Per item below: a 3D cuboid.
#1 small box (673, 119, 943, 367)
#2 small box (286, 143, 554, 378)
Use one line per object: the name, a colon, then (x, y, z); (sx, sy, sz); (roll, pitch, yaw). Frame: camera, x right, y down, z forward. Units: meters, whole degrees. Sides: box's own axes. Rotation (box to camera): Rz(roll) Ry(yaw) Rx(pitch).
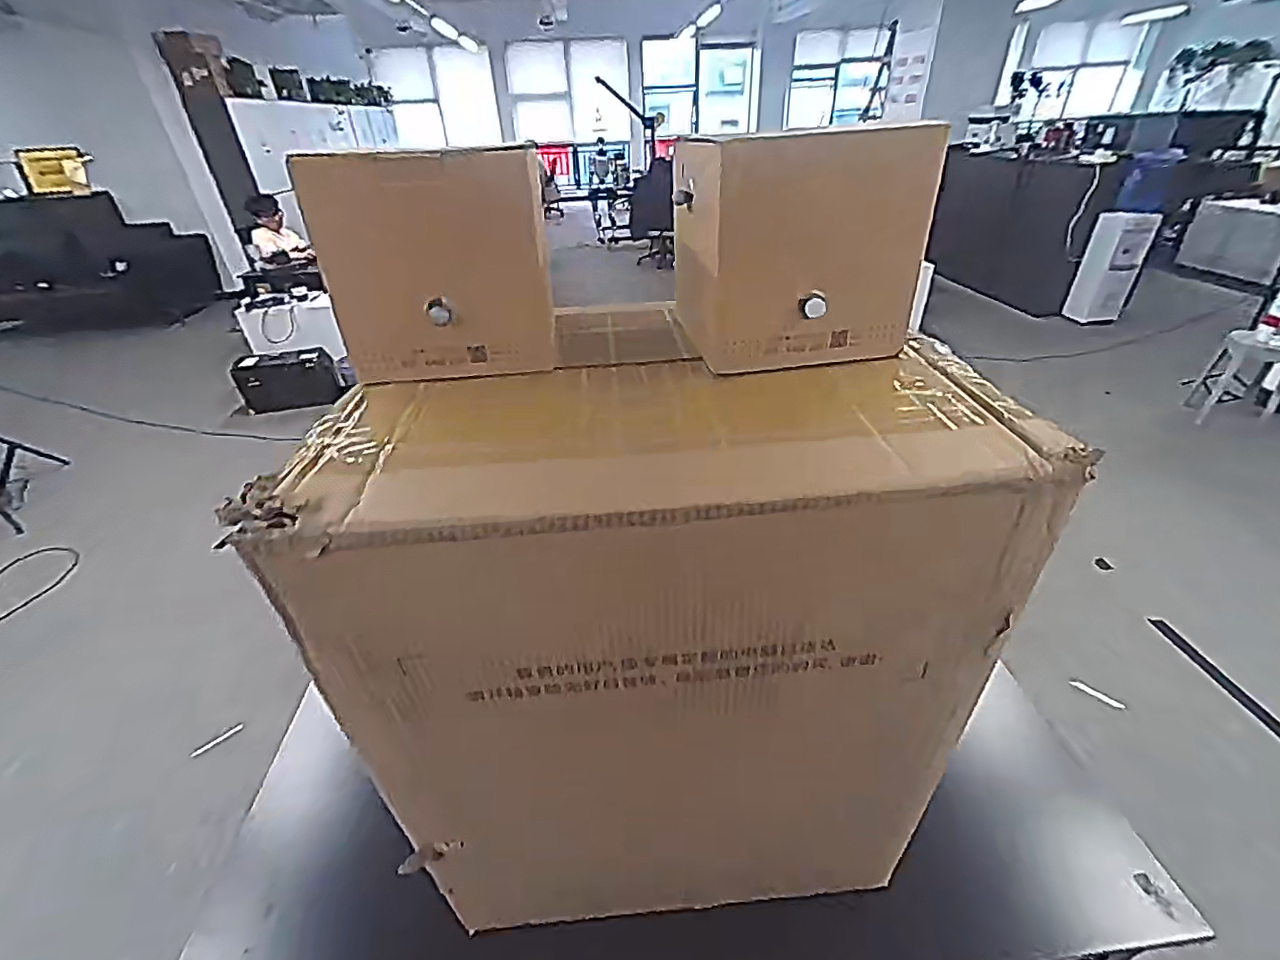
small box: (0.123, -0.211, 0.478); (0.168, 0.176, 0.179); (-7, 33, -4)
small box: (-0.171, -0.202, 0.489); (0.168, 0.176, 0.179); (-6, 33, -5)
